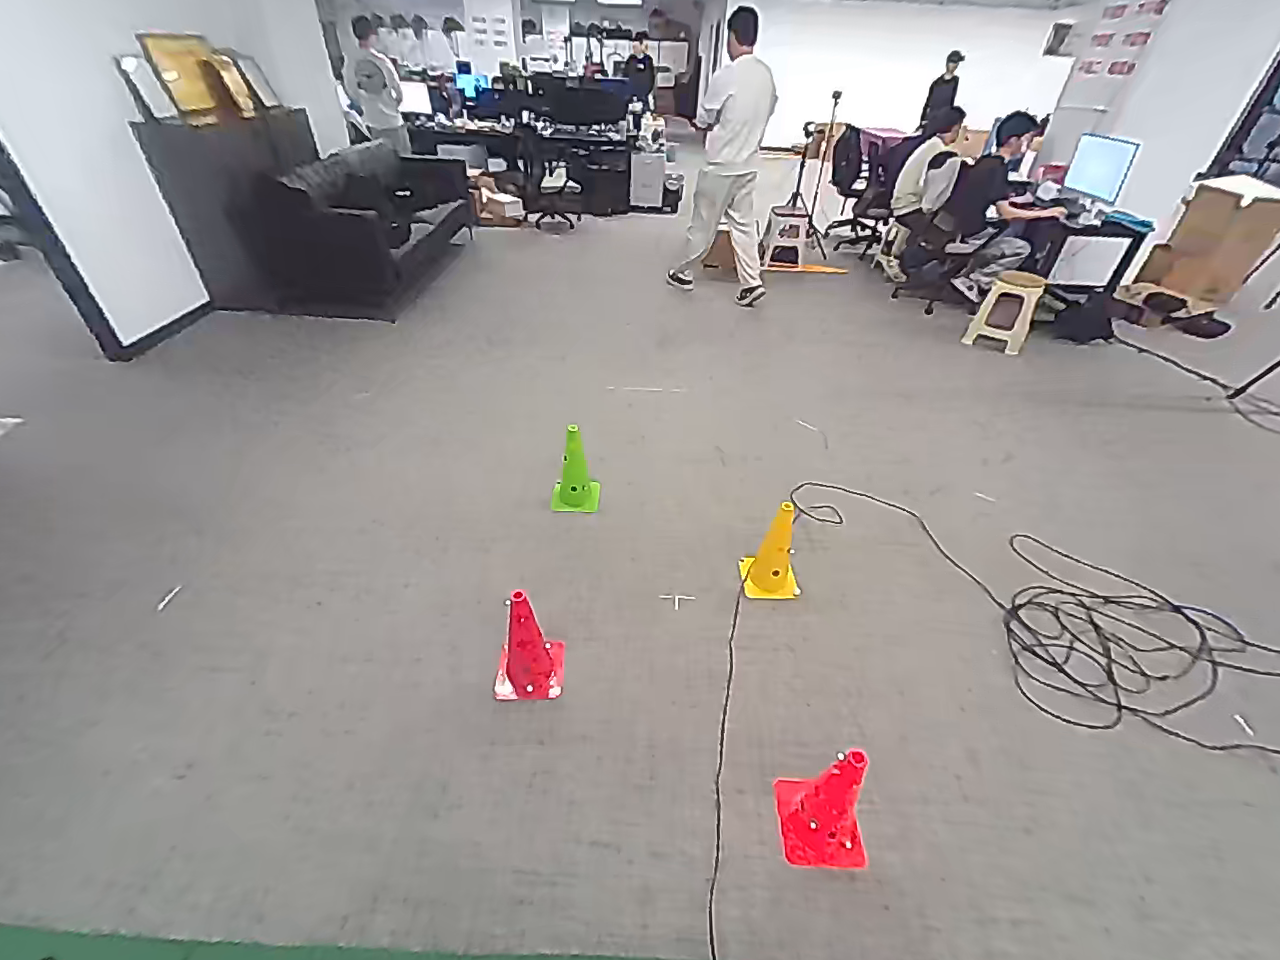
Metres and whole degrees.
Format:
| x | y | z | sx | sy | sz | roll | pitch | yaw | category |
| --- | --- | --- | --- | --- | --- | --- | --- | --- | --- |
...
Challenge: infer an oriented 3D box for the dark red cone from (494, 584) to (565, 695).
| x | y | z | sx | sy | sz | roll | pitch | yaw | category |
| --- | --- | --- | --- | --- | --- | --- | --- | --- | --- |
| -0.329 | 0.440 | 1.559 | 0.202 | 0.394 | 0.201 | -1 | 39 | -4 | dark red cone |

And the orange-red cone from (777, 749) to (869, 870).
| x | y | z | sx | sy | sz | roll | pitch | yaw | category |
| --- | --- | --- | --- | --- | --- | --- | --- | --- | --- |
| 0.463 | 0.731 | 1.266 | 0.198 | 0.360 | 0.199 | 4 | 37 | 0 | orange-red cone |

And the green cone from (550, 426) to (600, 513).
| x | y | z | sx | sy | sz | roll | pitch | yaw | category |
| --- | --- | --- | --- | --- | --- | --- | --- | --- | --- |
| -0.271 | -0.060 | 2.241 | 0.202 | 0.368 | 0.200 | 3 | 38 | -2 | green cone |
